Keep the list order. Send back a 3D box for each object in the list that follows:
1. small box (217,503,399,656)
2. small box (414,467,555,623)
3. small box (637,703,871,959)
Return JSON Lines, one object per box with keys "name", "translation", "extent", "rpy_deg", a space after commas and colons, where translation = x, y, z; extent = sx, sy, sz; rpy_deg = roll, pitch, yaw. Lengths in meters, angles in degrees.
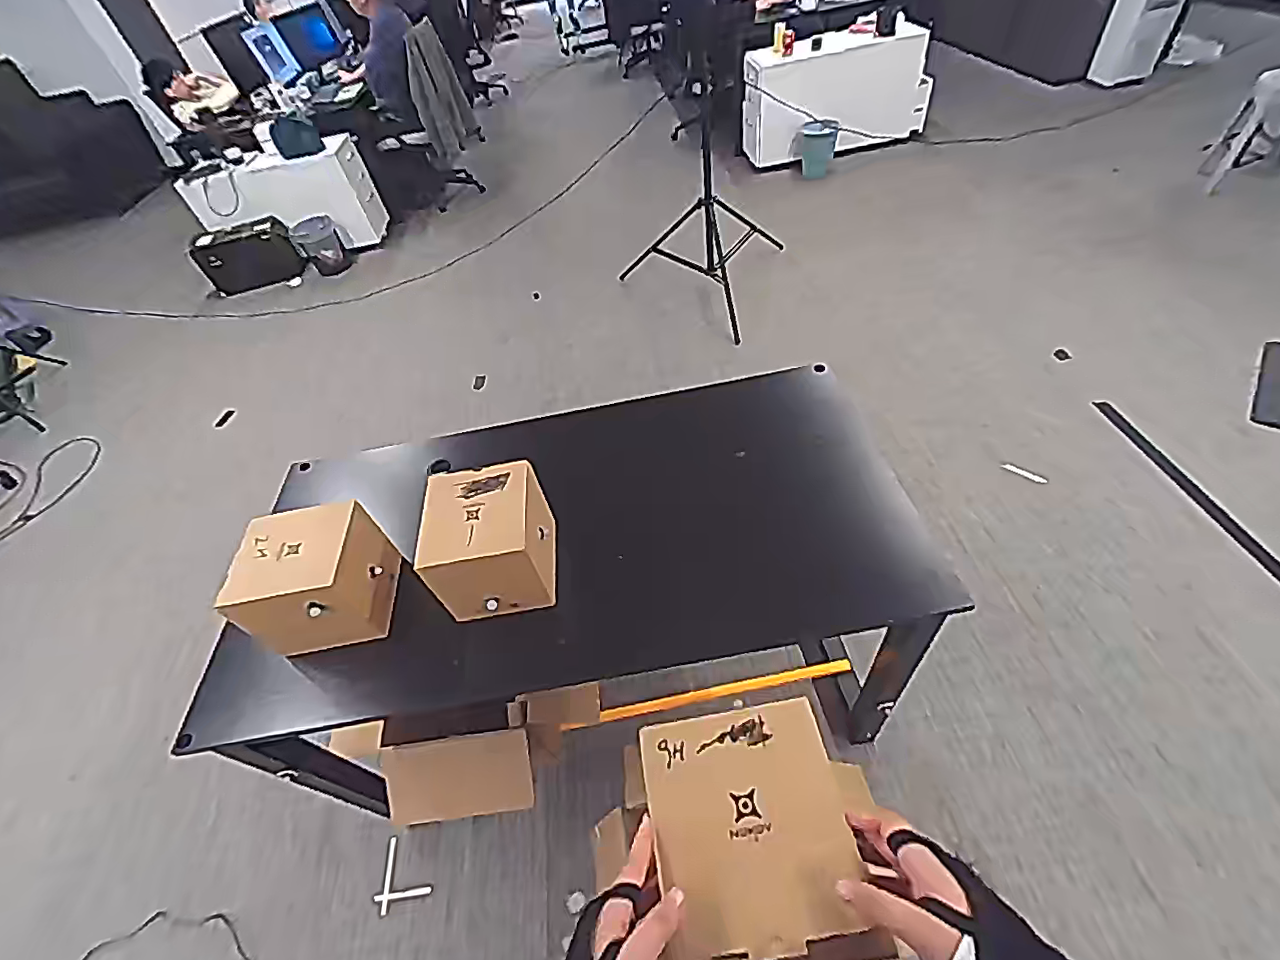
{"name": "small box", "translation": [-0.519, 0.165, 0.881], "extent": [0.179, 0.176, 0.168], "rpy_deg": [-11, 48, 0]}
{"name": "small box", "translation": [-0.240, 0.107, 0.882], "extent": [0.168, 0.176, 0.179], "rpy_deg": [-10, 48, 2]}
{"name": "small box", "translation": [0.098, 0.341, 0.526], "extent": [0.168, 0.176, 0.179], "rpy_deg": [-11, 52, 0]}
